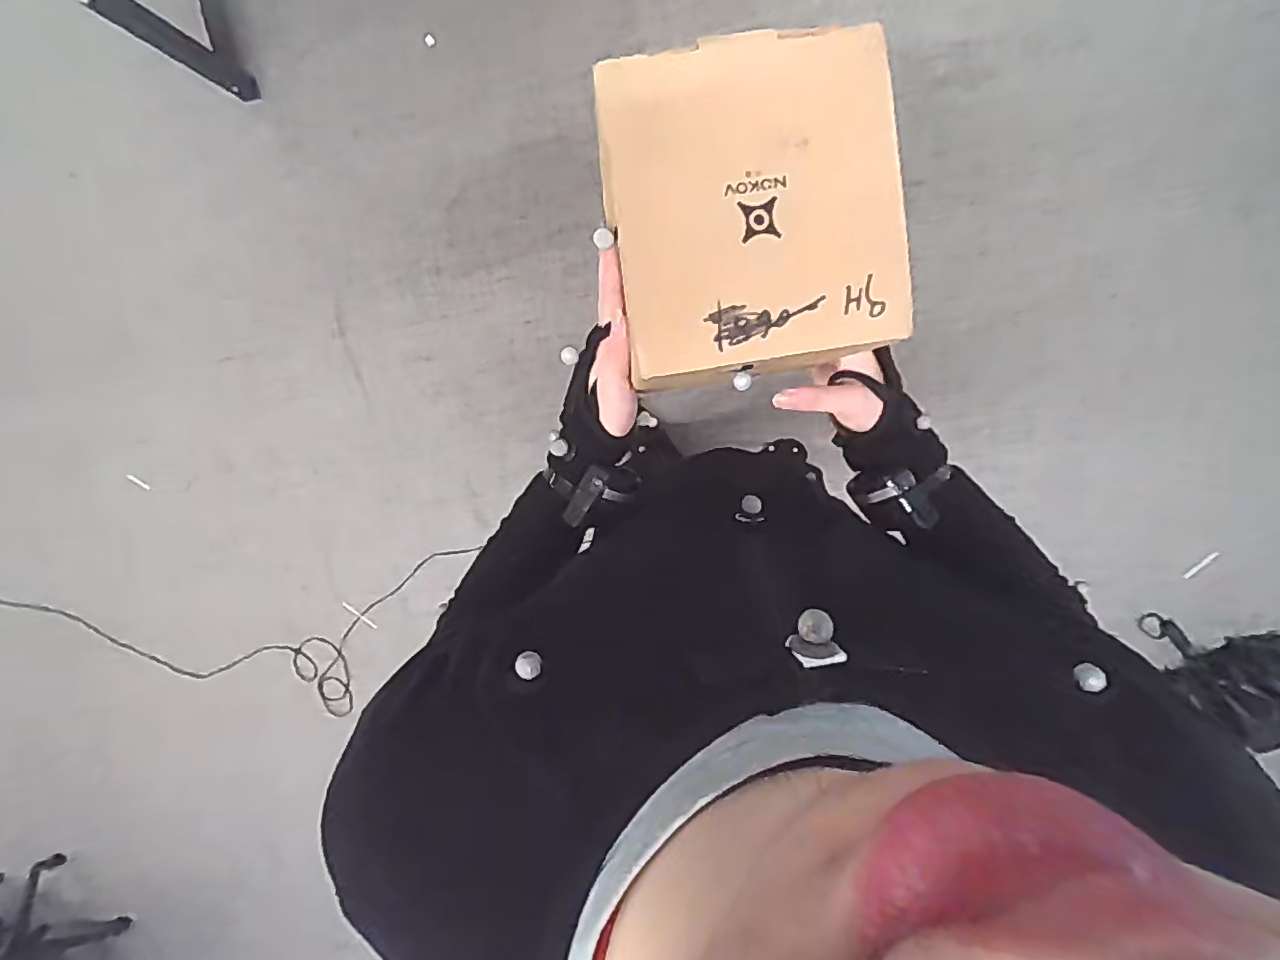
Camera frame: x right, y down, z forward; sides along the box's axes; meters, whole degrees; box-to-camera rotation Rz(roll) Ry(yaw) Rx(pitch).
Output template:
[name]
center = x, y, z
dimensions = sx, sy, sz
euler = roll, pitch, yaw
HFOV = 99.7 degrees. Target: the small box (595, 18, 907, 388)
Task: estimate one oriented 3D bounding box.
[small box]
center = 0.063, -0.169, 0.387
dimensions = 0.168, 0.176, 0.179
euler = -8, 96, 0
